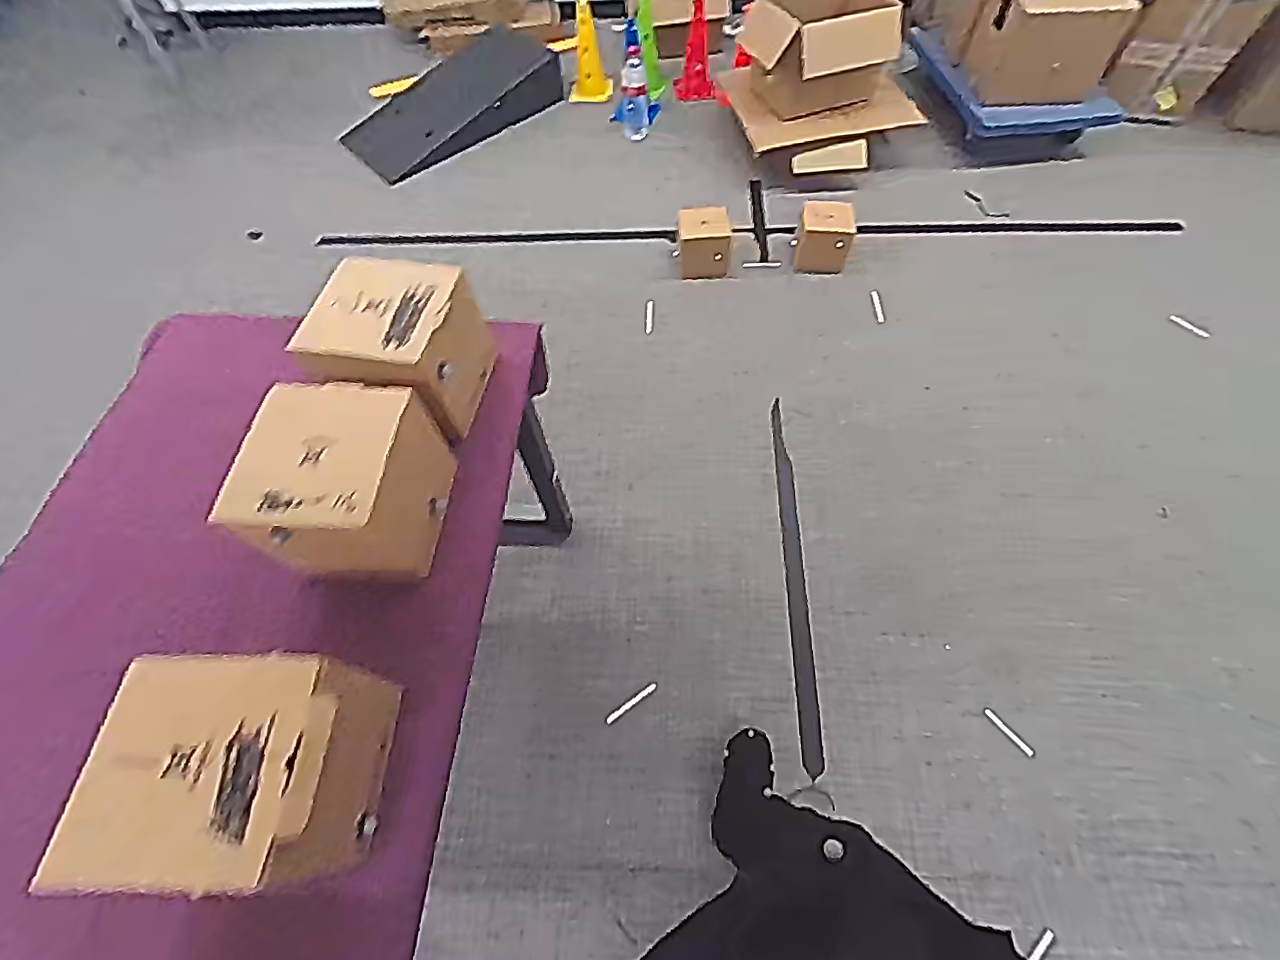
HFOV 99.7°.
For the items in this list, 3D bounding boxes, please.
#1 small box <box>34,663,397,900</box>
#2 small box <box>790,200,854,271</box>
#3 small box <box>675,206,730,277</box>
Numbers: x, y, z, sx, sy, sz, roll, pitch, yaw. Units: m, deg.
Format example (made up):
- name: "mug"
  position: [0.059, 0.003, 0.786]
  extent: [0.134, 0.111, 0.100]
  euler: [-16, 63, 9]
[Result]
- name: "small box"
  position: [-0.354, 0.269, 0.500]
  extent: [0.179, 0.176, 0.168]
  euler: [-1, 60, 2]
- name: "small box"
  position: [0.652, -0.879, 1.951]
  extent: [0.179, 0.176, 0.168]
  euler: [5, 61, 4]
- name: "small box"
  position: [0.220, -0.858, 1.953]
  extent: [0.179, 0.176, 0.168]
  euler: [-5, 60, 0]
